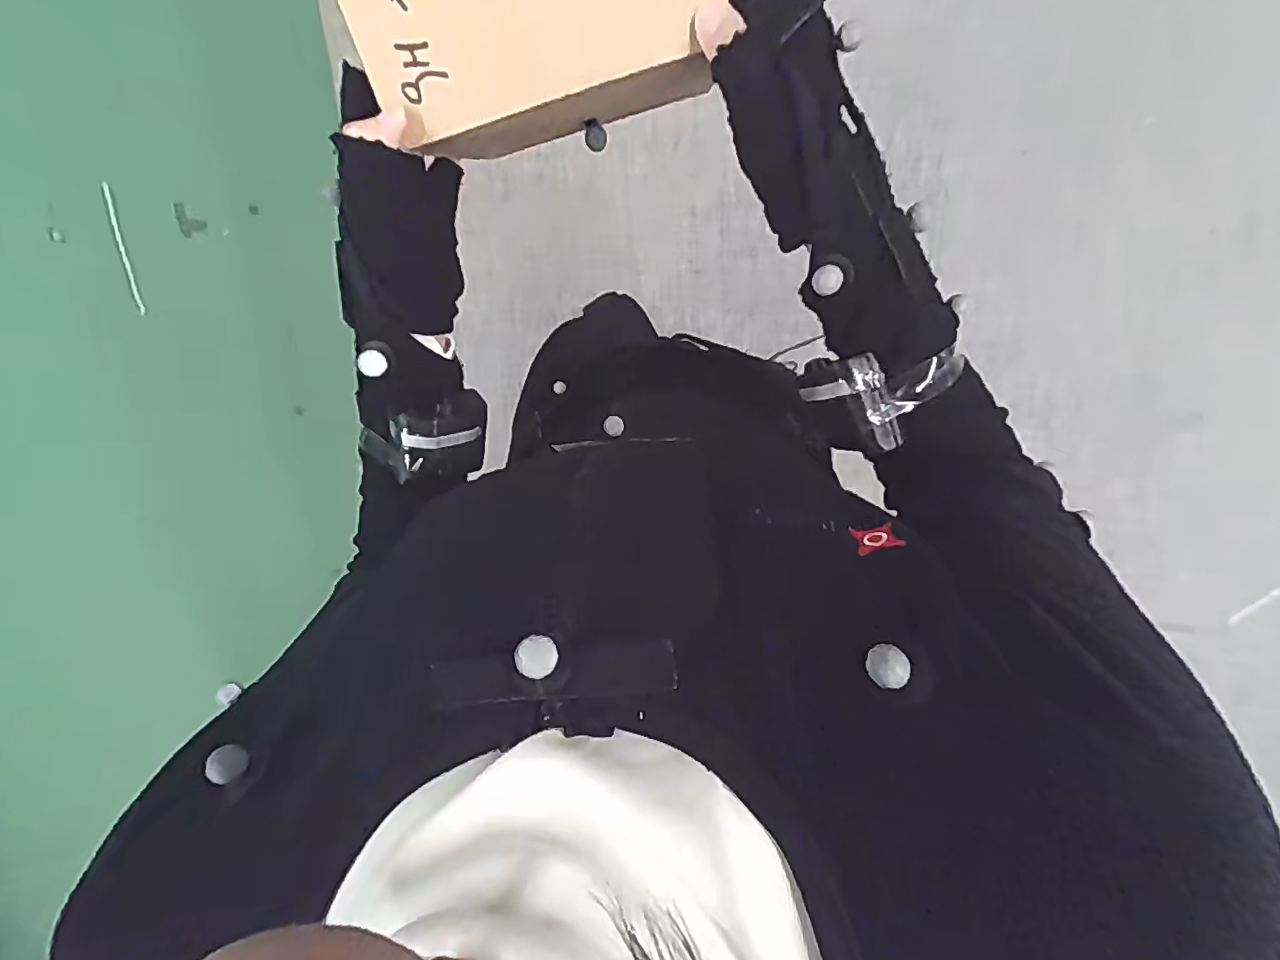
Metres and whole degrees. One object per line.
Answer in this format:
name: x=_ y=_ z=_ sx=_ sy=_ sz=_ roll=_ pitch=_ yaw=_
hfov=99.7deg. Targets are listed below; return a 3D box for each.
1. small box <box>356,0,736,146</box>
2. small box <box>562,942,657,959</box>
small box: x=-0.053 y=-0.303 z=0.301 sx=0.179 sy=0.176 sz=0.168 roll=-11 pitch=117 yaw=8
small box: x=-0.058 y=0.926 z=0.911 sx=0.179 sy=0.176 sz=0.168 roll=-2 pitch=108 yaw=8
